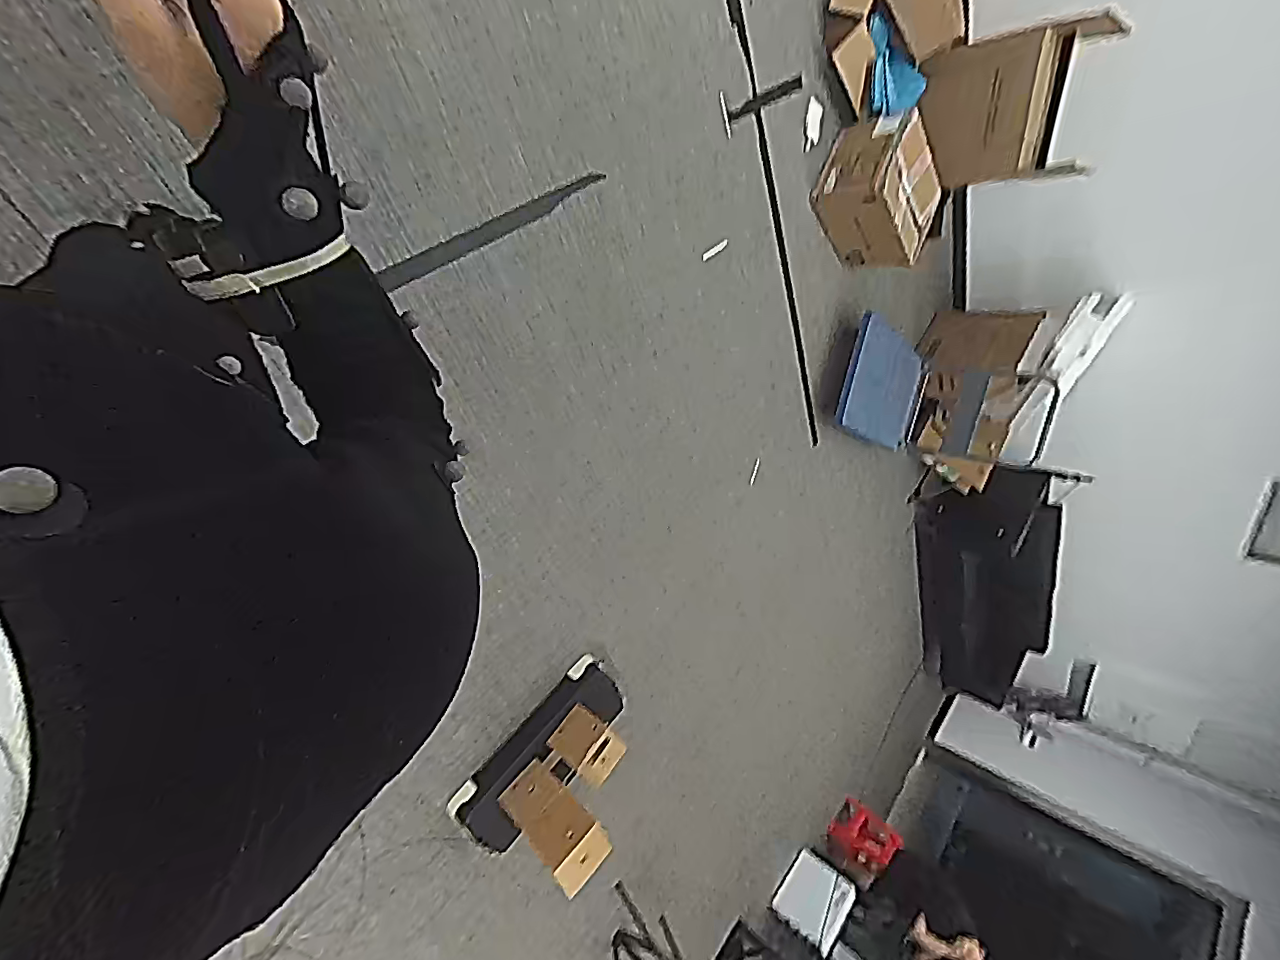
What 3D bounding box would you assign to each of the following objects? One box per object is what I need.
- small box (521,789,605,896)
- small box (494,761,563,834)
[{"bbox_3d":[-0.241,1.104,1.657,0.179,0.176,0.168,-38,126,-33],"label":"small box"},{"bbox_3d":[-0.348,1.063,1.774,0.168,0.176,0.179,-40,128,-30],"label":"small box"}]
